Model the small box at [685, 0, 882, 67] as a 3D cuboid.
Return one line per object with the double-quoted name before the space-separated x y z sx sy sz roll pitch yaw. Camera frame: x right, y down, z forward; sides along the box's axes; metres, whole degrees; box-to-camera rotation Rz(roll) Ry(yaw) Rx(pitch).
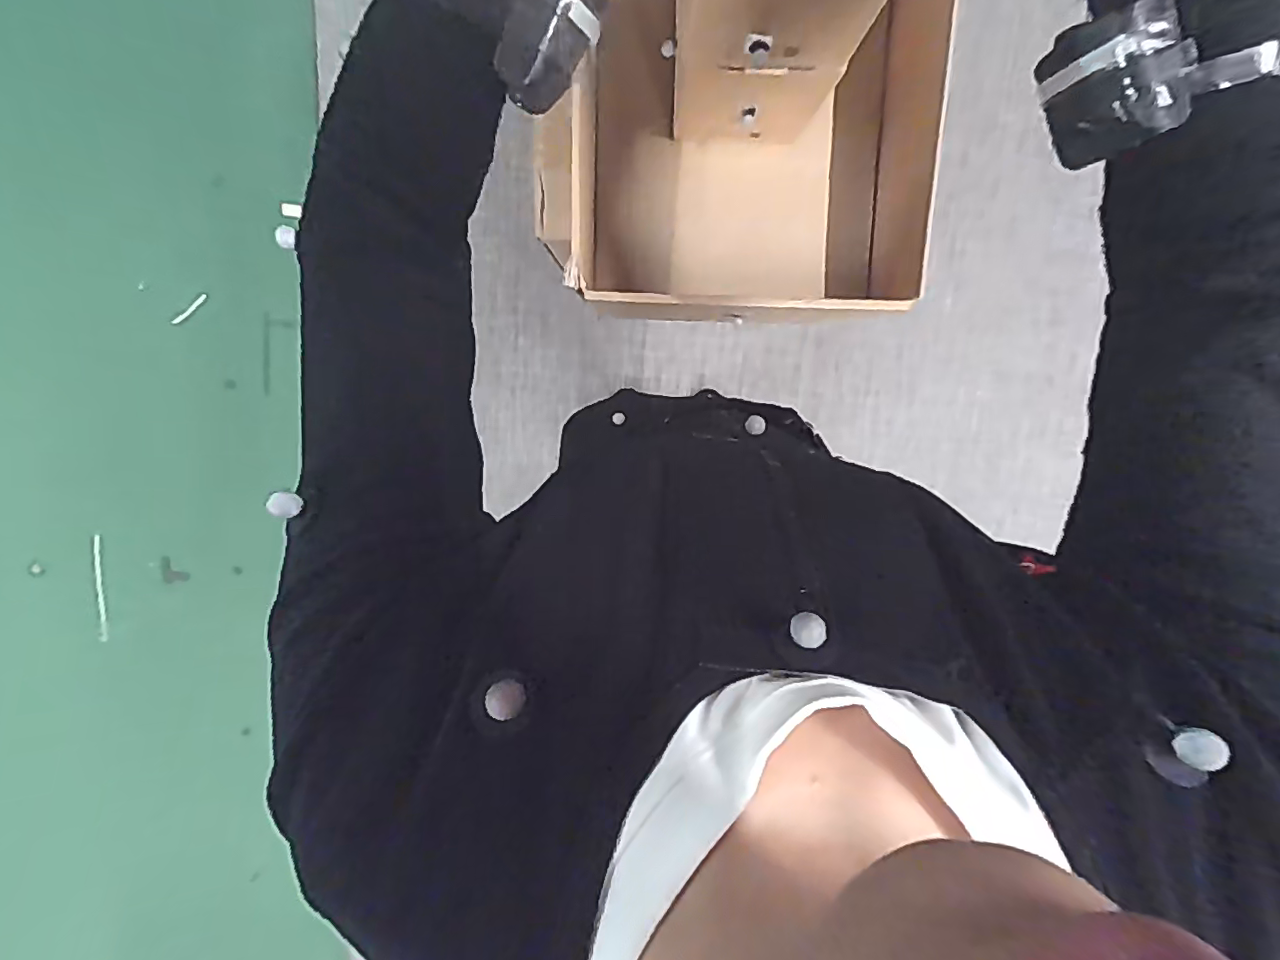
"small box" 0.125 -0.489 0.449 0.168 0.176 0.179 -1 100 1
